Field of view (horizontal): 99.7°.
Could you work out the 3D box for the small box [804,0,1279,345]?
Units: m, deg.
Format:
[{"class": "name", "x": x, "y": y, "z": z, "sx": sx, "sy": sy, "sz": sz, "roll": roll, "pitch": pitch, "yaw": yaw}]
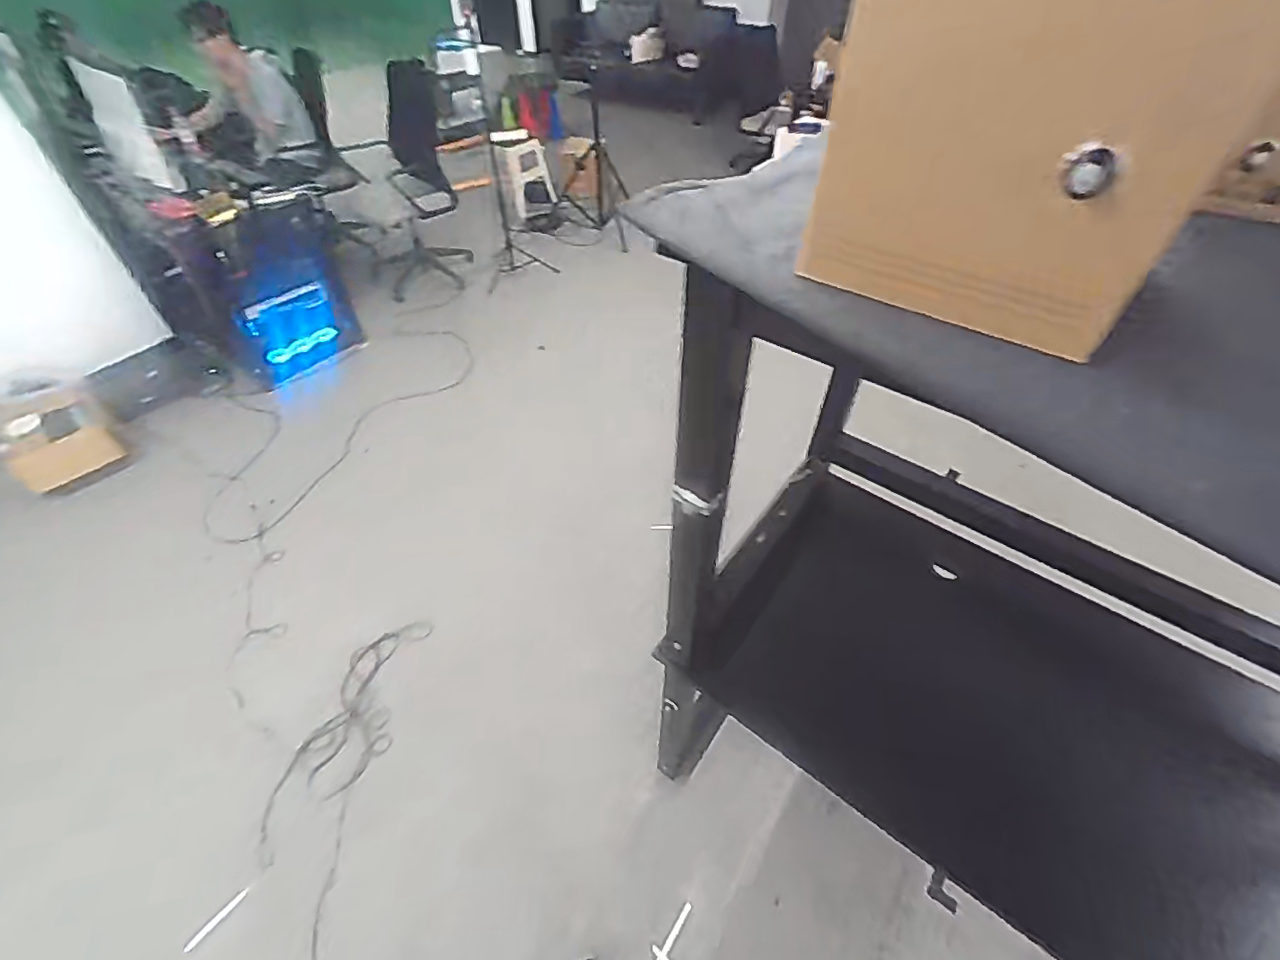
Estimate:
[{"class": "small box", "x": 0.225, "y": -0.203, "z": 0.321, "sx": 0.179, "sy": 0.176, "sz": 0.168, "roll": 29, "pitch": 53, "yaw": 24}]
